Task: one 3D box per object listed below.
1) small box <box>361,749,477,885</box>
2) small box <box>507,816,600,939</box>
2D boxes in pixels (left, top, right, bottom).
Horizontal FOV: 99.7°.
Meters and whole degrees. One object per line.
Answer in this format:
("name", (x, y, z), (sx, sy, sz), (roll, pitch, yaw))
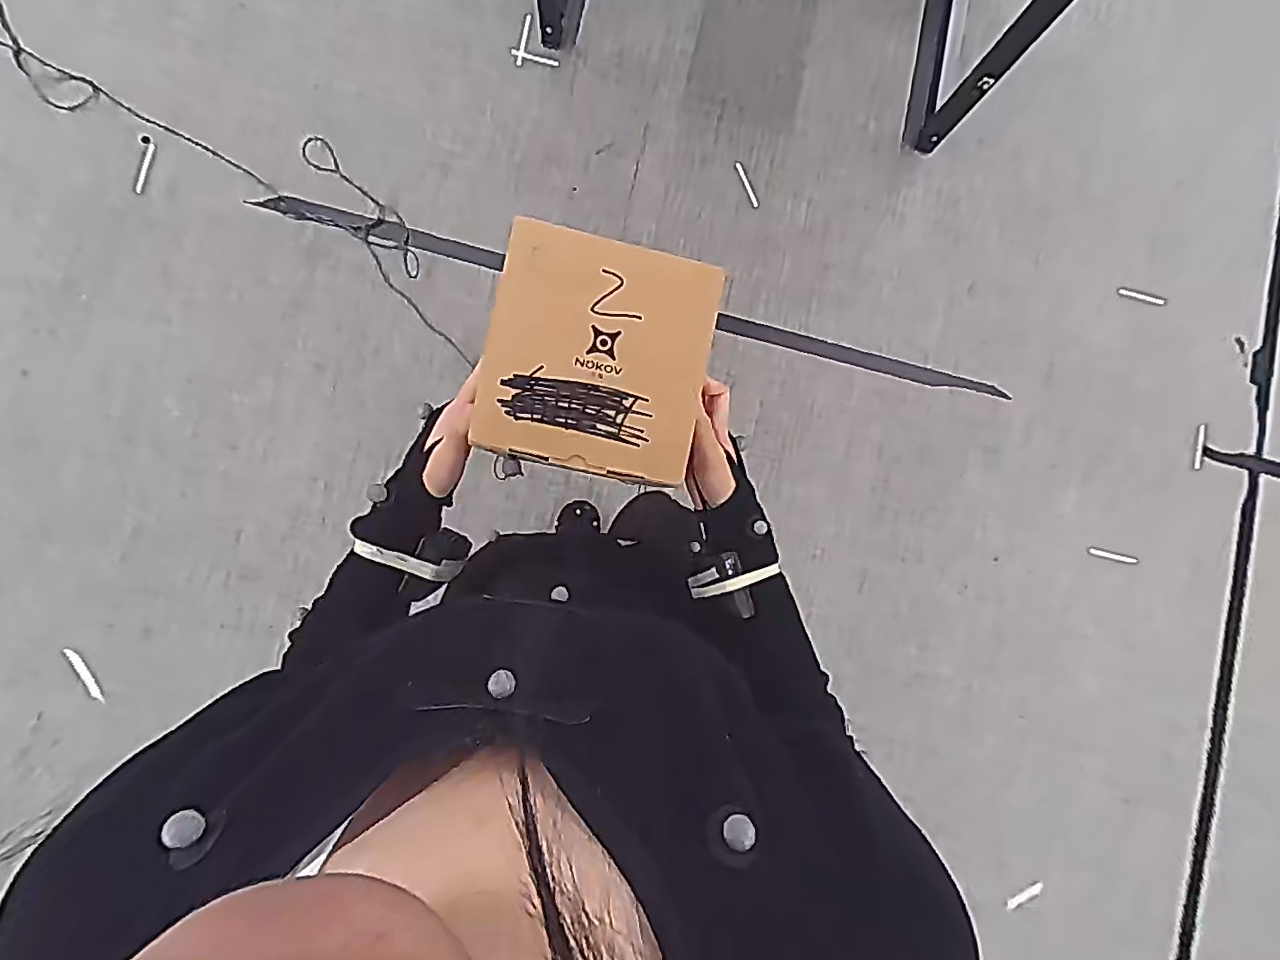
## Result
("small box", (-0.470, 0.725, 1.179), (0.168, 0.176, 0.179), (15, 85, -4))
("small box", (-0.212, 0.981, 1.351), (0.179, 0.176, 0.168), (21, 85, -5))
